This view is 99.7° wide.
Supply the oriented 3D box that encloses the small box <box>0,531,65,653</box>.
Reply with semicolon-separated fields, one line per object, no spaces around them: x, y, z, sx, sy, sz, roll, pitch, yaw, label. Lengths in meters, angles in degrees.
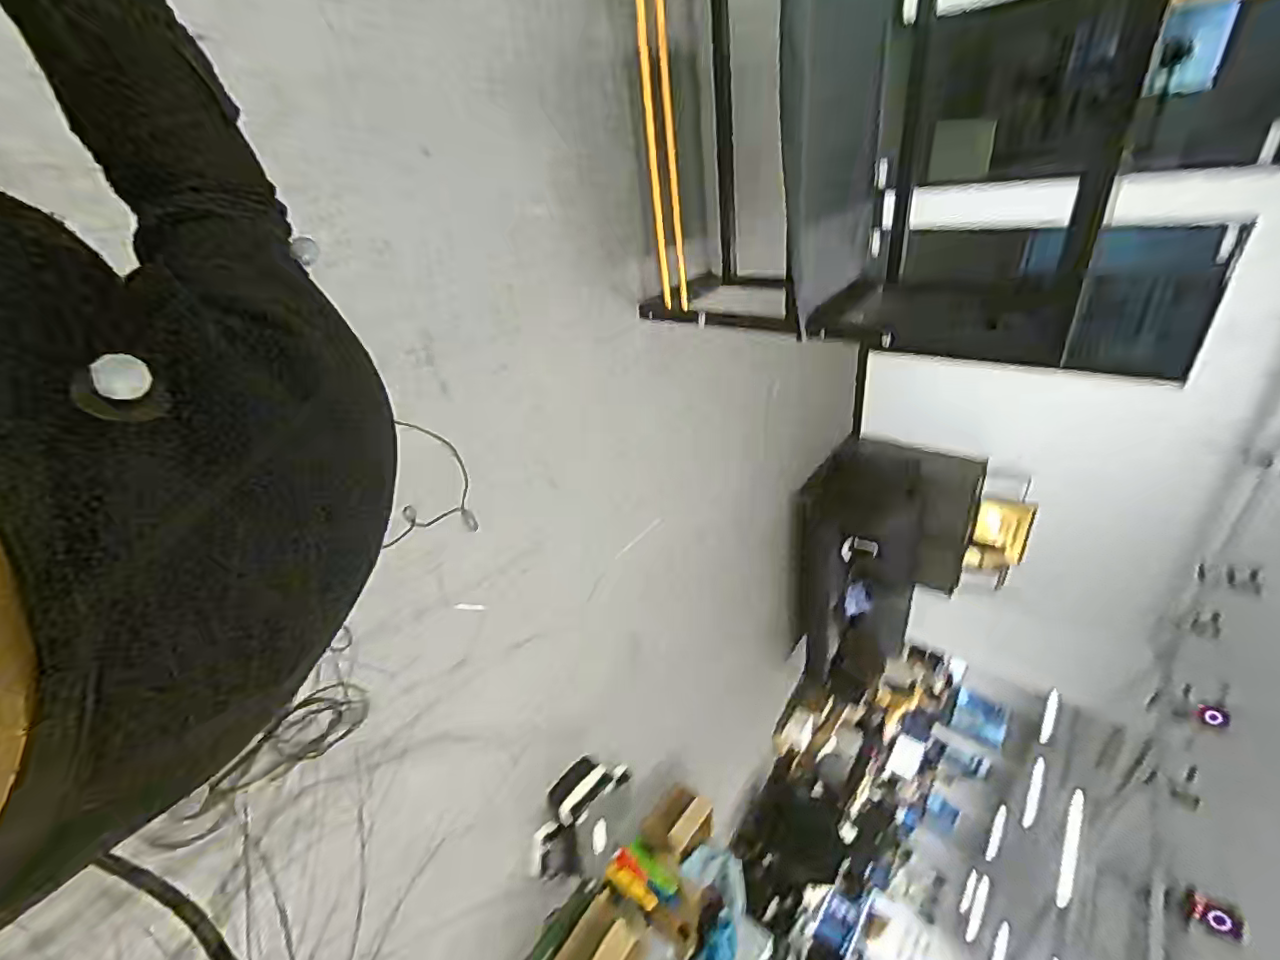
-1.200;0.212;0.964;0.179;0.176;0.168;-35;132;-40;small box
